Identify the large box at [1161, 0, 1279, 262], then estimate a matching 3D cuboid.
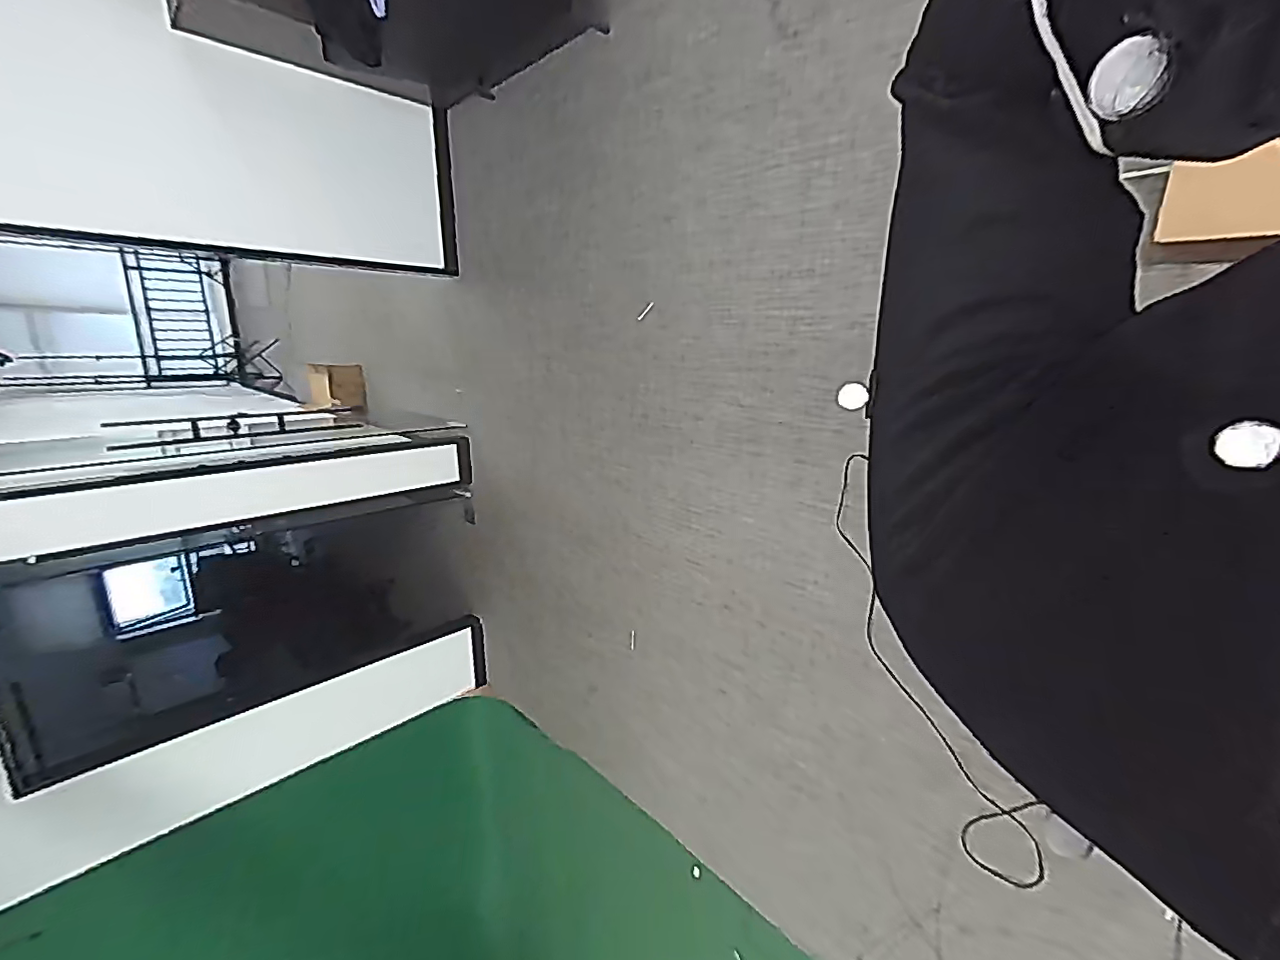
[{"bbox_3d":[1.061,-0.512,0.777,0.408,0.320,0.320,16,111,43],"label":"large box"}]
